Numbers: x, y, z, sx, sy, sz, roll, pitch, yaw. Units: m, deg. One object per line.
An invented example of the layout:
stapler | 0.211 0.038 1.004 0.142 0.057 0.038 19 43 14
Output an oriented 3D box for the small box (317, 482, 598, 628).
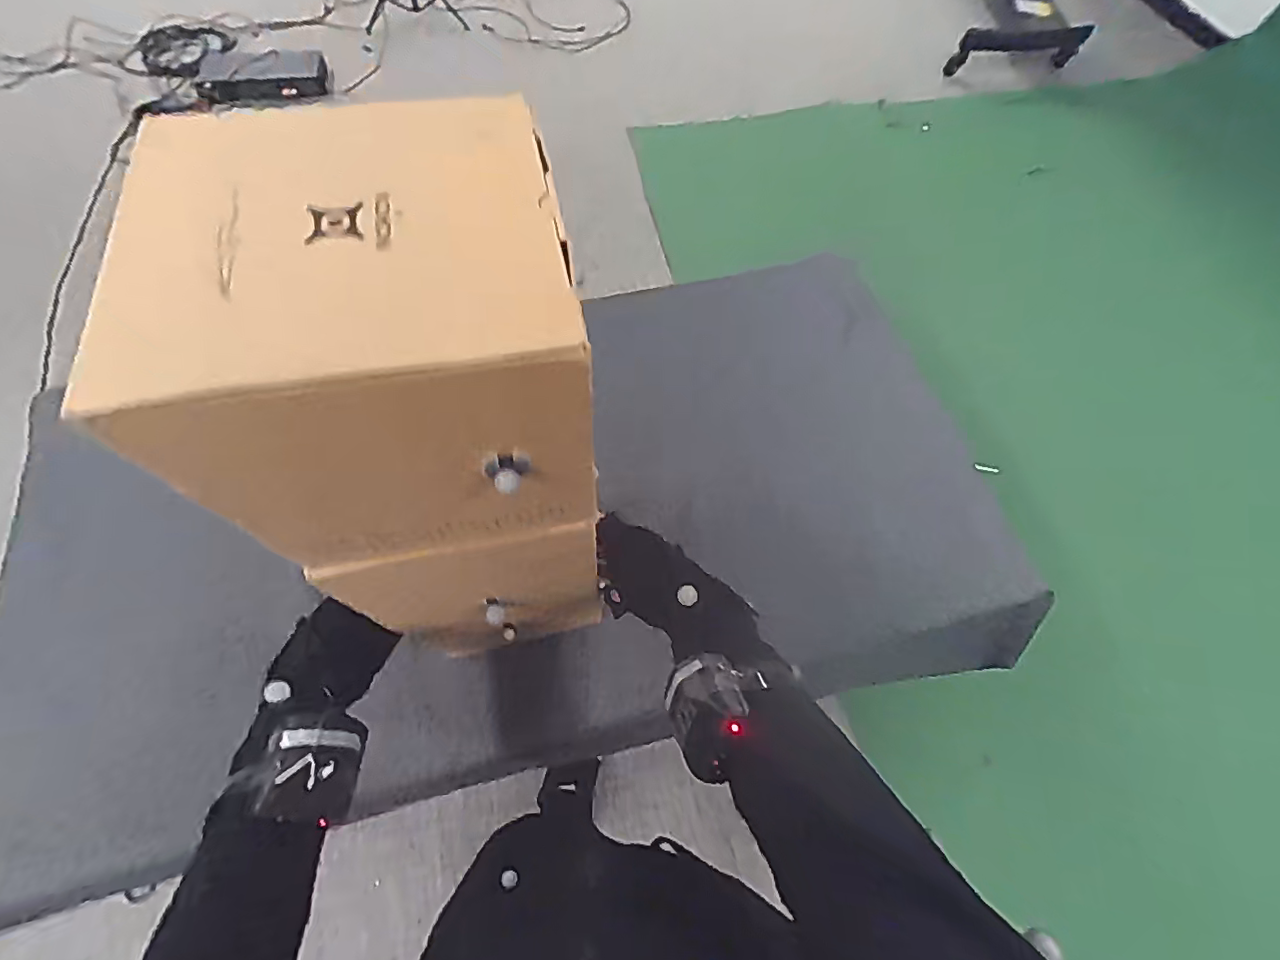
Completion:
small box | -0.135 0.010 0.446 0.179 0.176 0.168 -11 64 -9

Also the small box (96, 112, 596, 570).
small box | -0.124 -0.065 0.302 0.179 0.176 0.168 -11 64 -8

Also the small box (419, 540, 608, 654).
small box | -0.142 0.078 0.594 0.179 0.176 0.168 -14 66 -11
